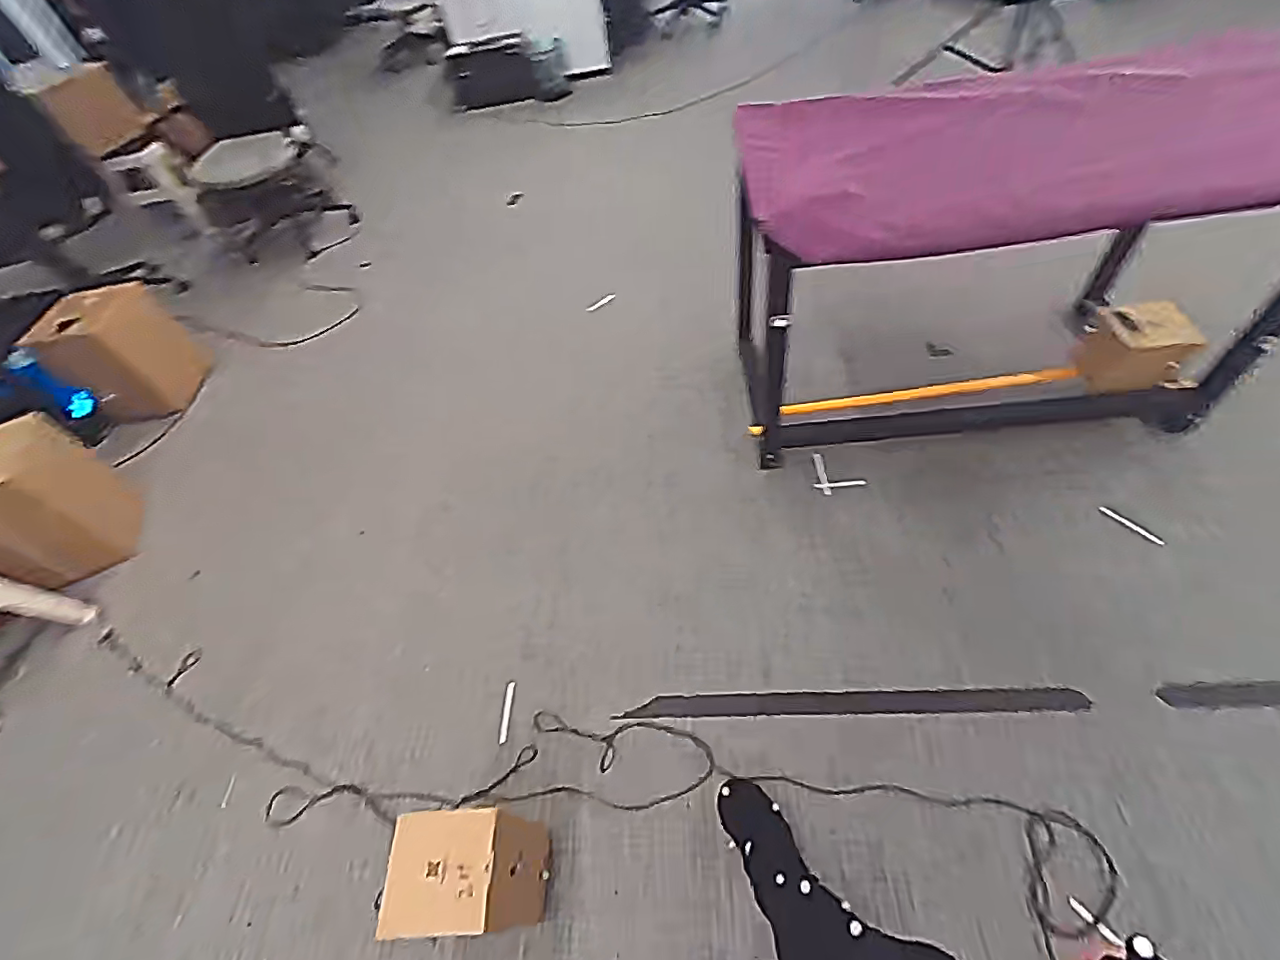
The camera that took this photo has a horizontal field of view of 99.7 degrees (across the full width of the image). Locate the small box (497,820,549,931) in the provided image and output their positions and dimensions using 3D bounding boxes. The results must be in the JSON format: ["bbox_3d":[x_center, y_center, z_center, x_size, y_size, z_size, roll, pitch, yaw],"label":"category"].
[{"bbox_3d":[-0.288,0.764,1.047,0.179,0.176,0.168,-5,53,5],"label":"small box"}]

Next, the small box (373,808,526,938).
[{"bbox_3d":[-0.310,0.665,0.917,0.179,0.176,0.168,-6,53,4],"label":"small box"}]
